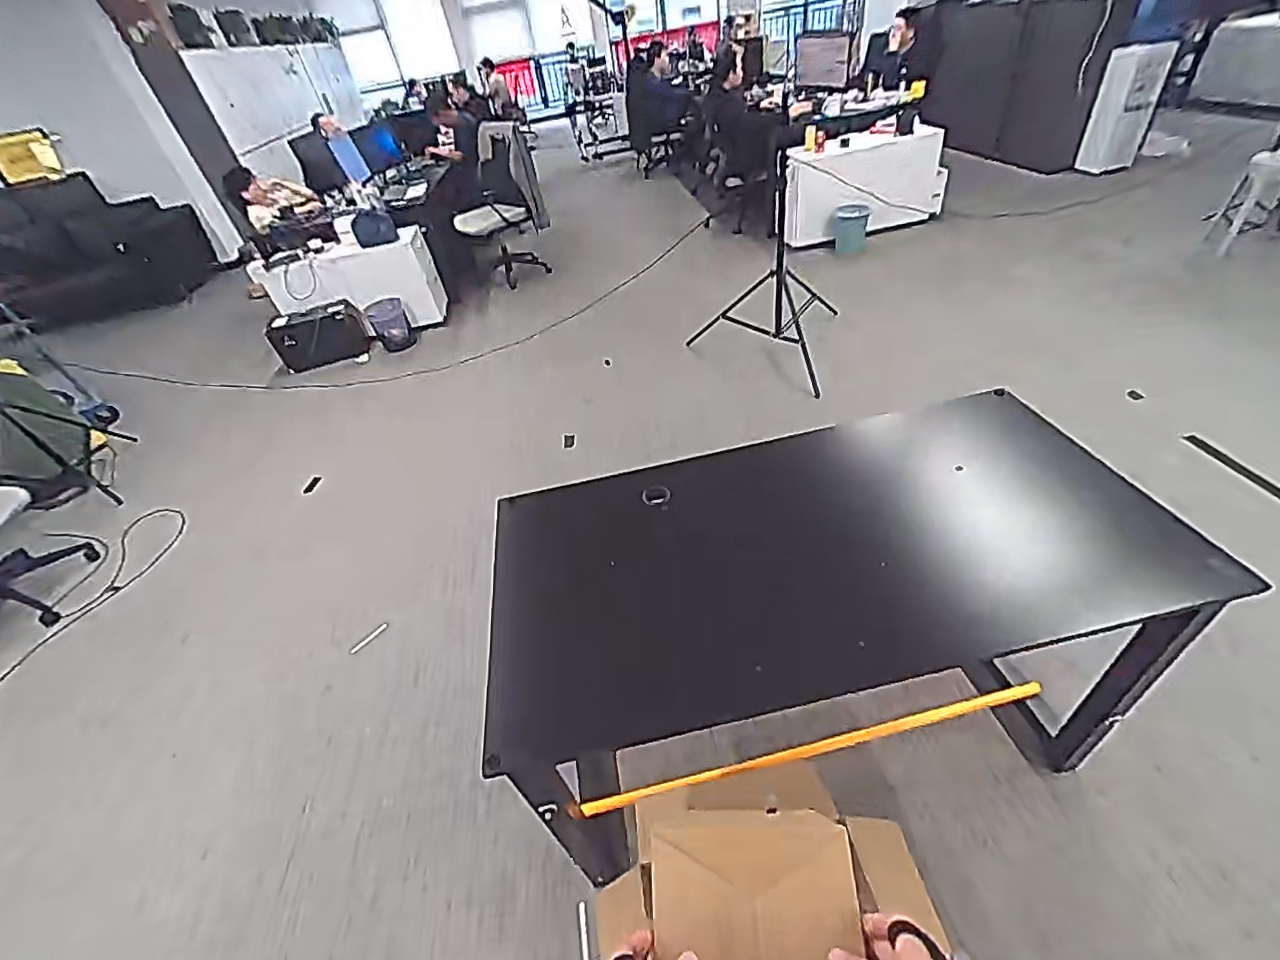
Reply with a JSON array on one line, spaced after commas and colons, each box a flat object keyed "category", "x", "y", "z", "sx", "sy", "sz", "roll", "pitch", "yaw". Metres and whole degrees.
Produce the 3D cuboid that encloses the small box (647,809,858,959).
[{"category": "small box", "x": 0.104, "y": 0.424, "z": 0.522, "sx": 0.179, "sy": 0.176, "sz": 0.168, "roll": -4, "pitch": 62, "yaw": 4}]
